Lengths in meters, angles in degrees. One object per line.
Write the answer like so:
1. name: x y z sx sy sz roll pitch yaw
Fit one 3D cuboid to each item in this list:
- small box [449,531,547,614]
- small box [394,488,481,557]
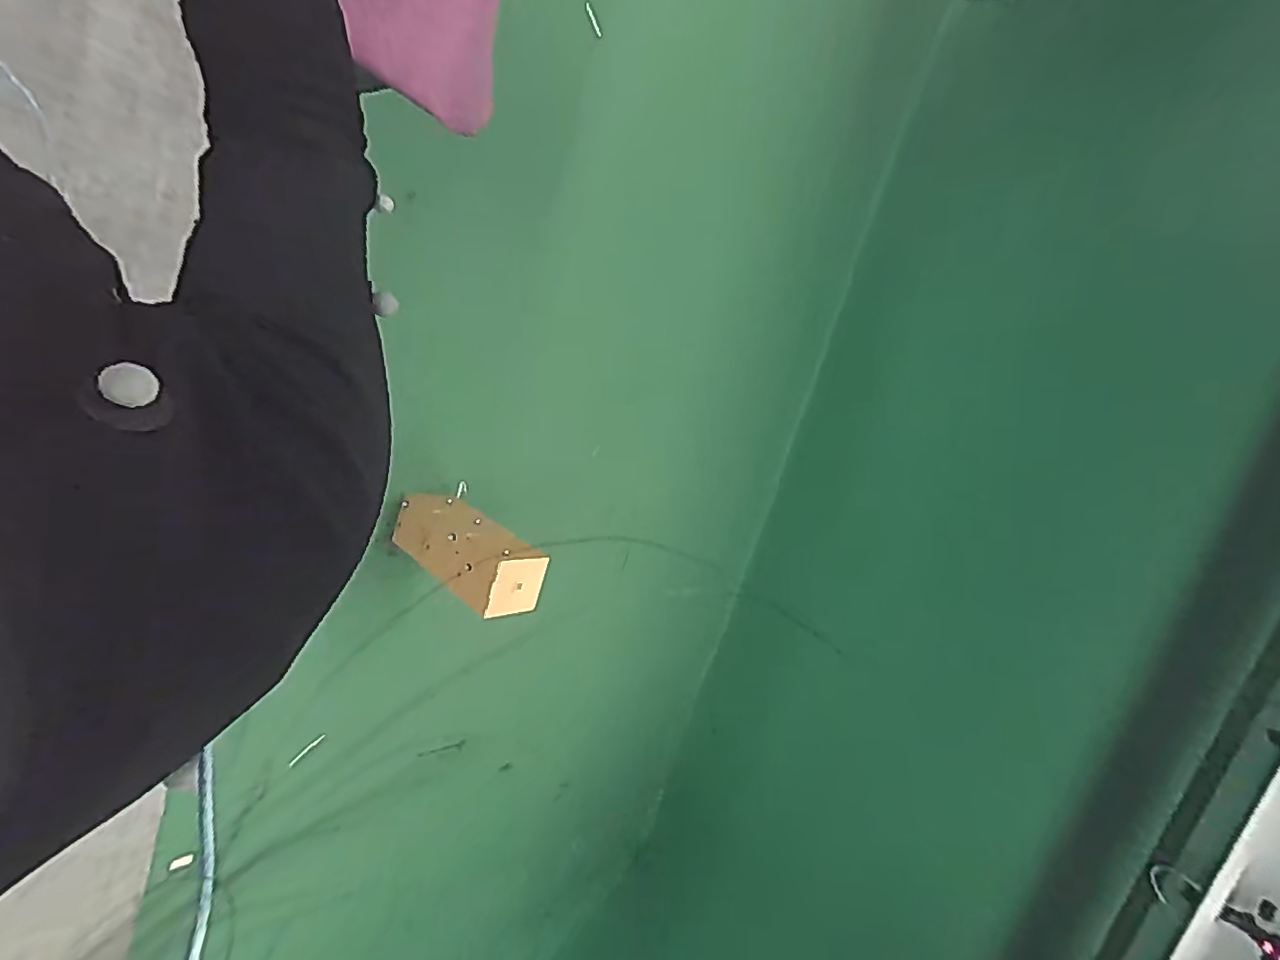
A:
1. small box: -0.396 0.248 1.506 0.179 0.176 0.168 5 107 -53
2. small box: -0.639 0.132 1.692 0.179 0.176 0.168 9 103 -54
